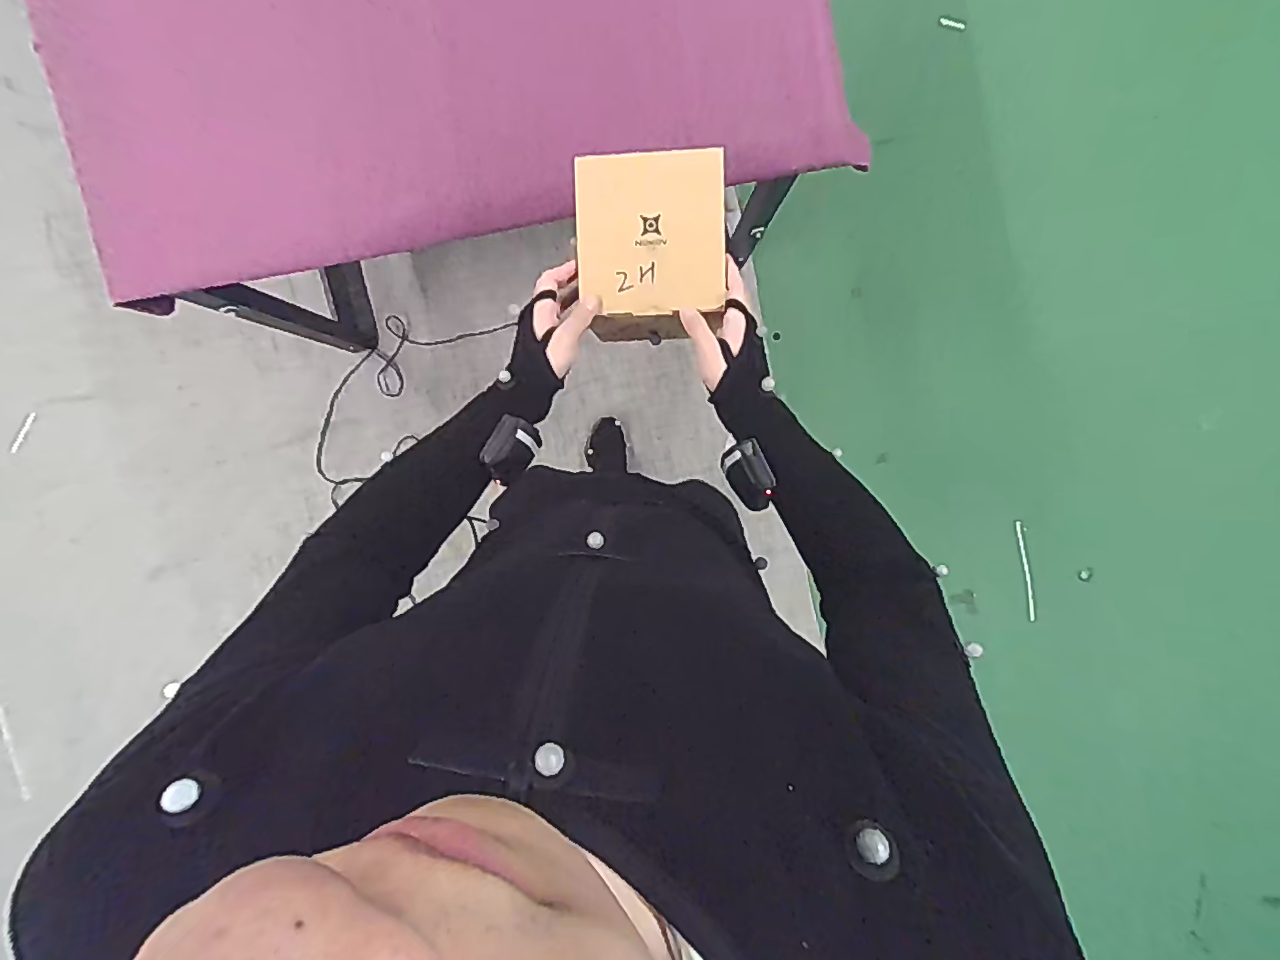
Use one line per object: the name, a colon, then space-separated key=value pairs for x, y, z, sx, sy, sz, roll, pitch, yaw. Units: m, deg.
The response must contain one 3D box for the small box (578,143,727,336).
small box: x=0.018 y=-0.285 z=0.675 sx=0.168 sy=0.176 sz=0.179 roll=-1 pitch=96 yaw=5
